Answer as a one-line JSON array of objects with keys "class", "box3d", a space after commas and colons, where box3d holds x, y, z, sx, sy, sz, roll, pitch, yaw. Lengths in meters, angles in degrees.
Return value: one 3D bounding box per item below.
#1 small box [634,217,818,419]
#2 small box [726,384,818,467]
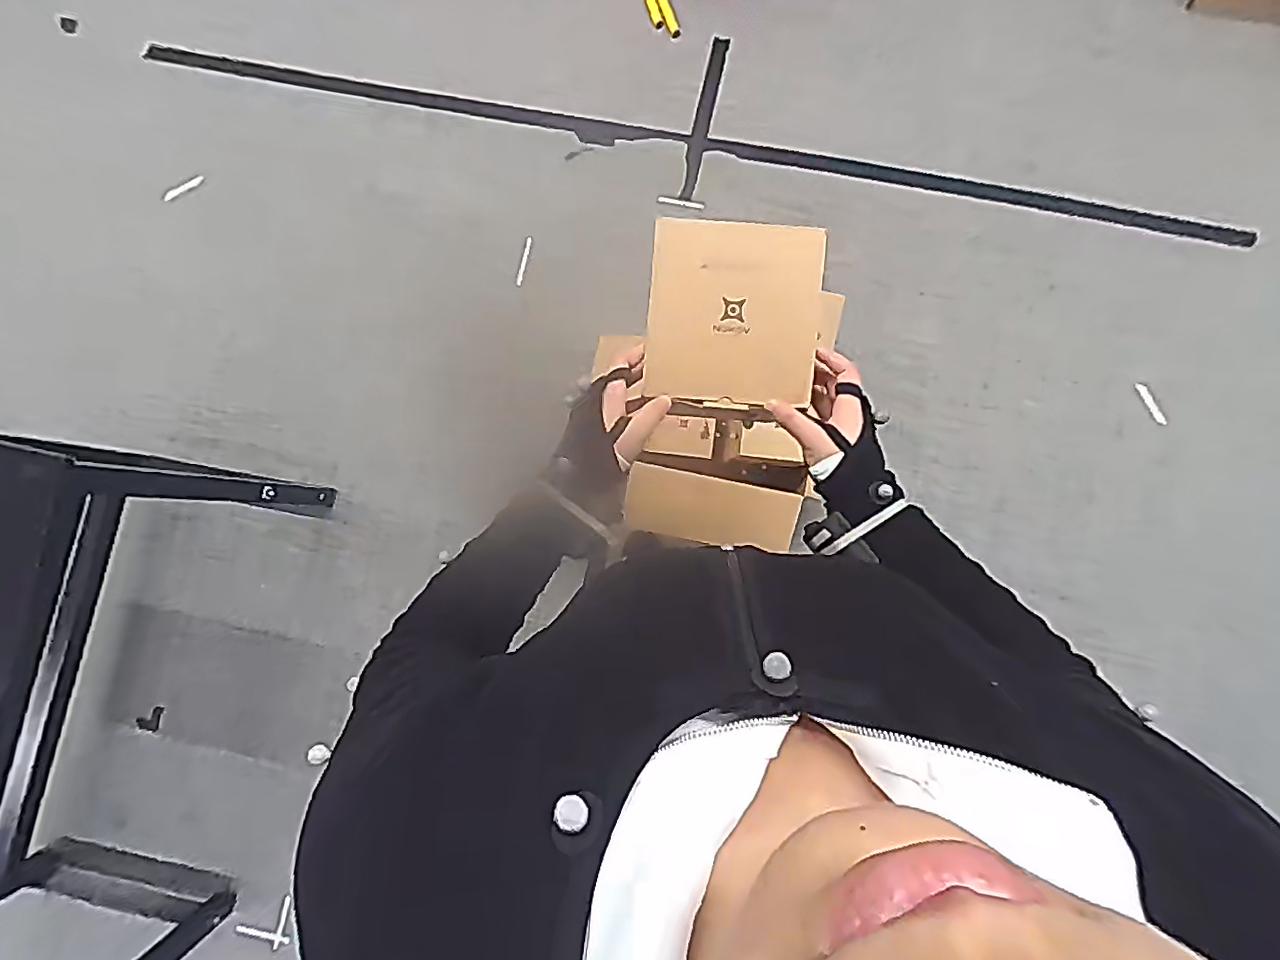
[{"class": "small box", "box3d": [0.084, -0.163, 0.598, 0.168, 0.176, 0.179, 4, 92, 1]}, {"class": "small box", "box3d": [0.300, -0.127, 1.260, 0.168, 0.176, 0.179, 6, 86, -1]}]
